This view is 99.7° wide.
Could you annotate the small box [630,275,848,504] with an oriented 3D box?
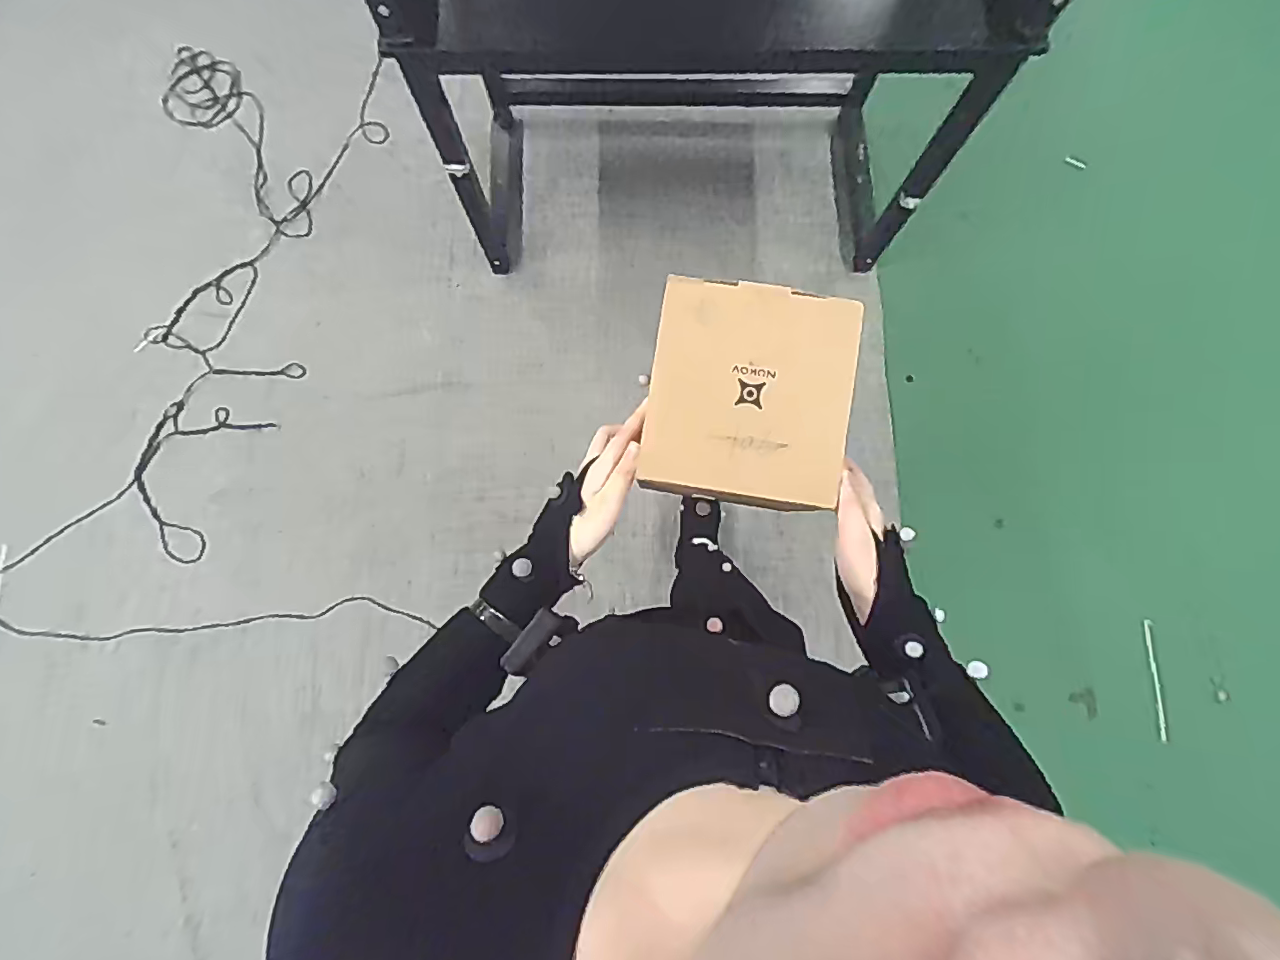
[{"bbox_3d":[0.086,-0.074,0.535,0.168,0.176,0.179,9,88,2],"label":"small box"}]
